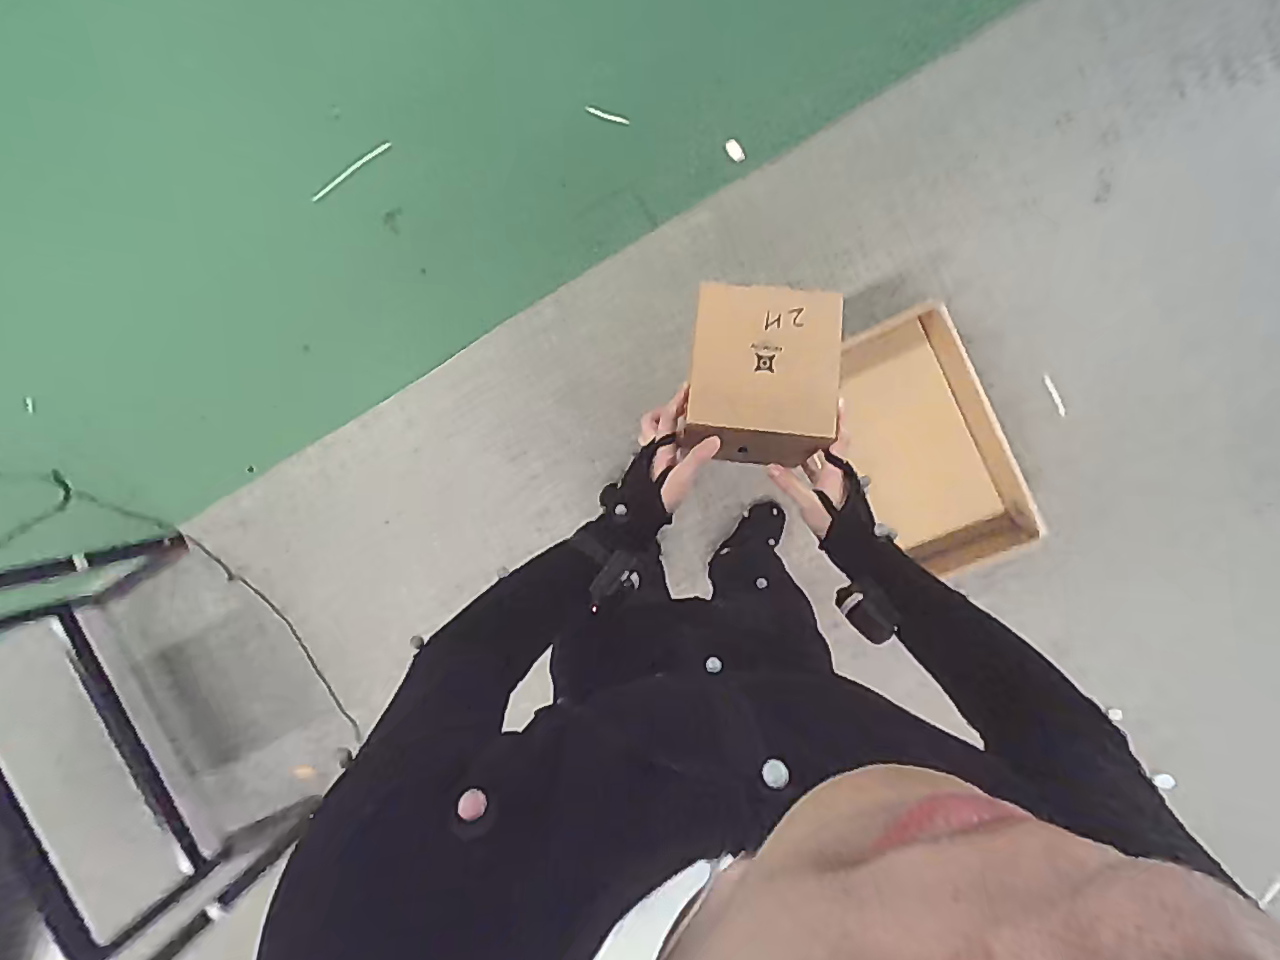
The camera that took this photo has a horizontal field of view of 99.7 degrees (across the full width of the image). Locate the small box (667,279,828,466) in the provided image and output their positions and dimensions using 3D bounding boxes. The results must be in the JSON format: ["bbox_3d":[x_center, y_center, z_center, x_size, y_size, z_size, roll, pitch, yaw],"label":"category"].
[{"bbox_3d":[0.123,-0.121,0.674,0.168,0.176,0.179,6,78,1],"label":"small box"}]
